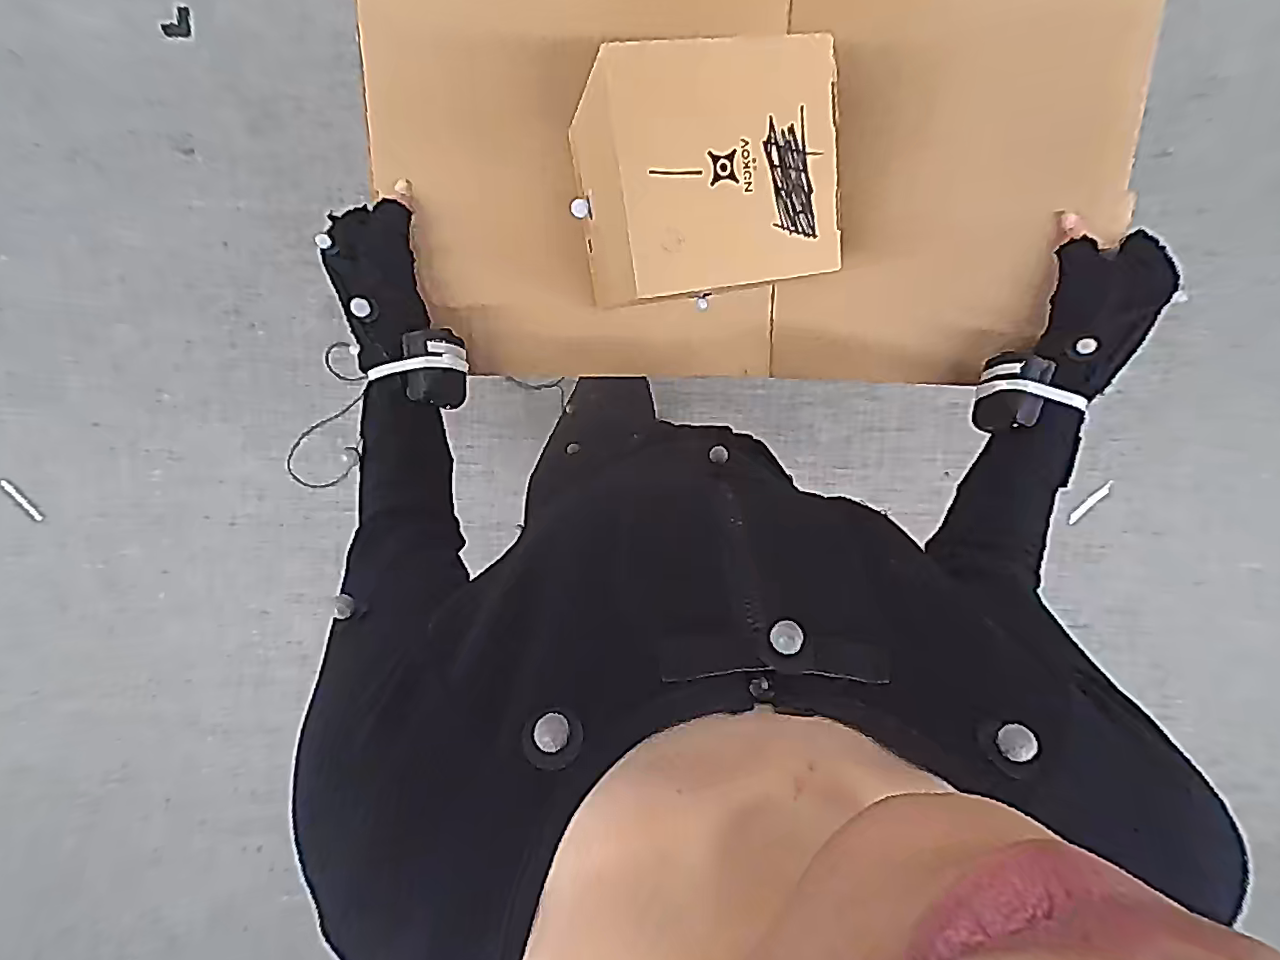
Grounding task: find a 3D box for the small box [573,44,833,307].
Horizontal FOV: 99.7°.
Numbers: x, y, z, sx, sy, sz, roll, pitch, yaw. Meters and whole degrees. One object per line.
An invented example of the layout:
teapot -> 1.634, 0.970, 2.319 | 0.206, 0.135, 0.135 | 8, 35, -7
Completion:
small box -> 0.048, -0.253, 0.484 | 0.179, 0.176, 0.168 | -12, 106, -12
